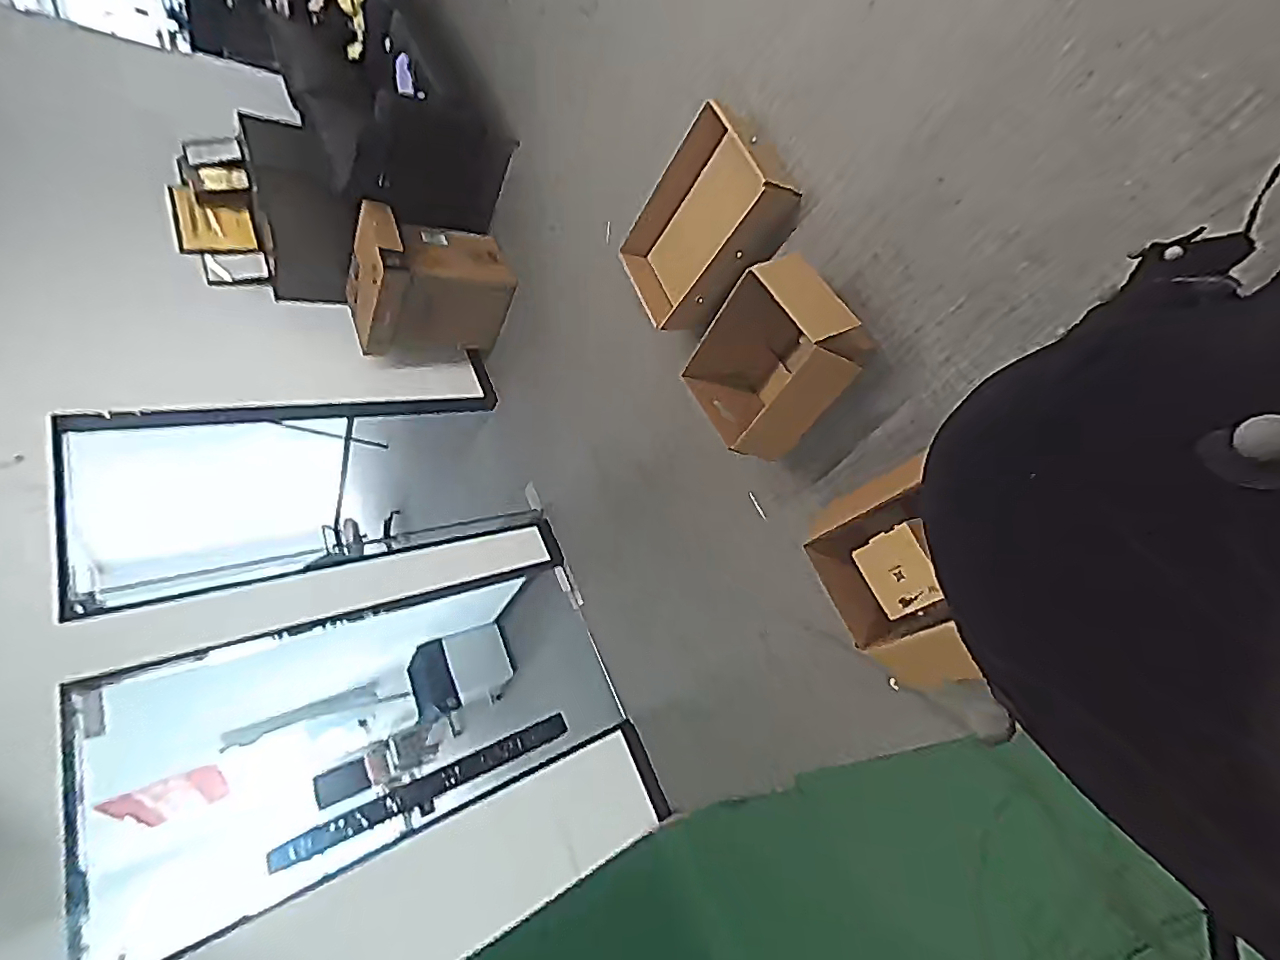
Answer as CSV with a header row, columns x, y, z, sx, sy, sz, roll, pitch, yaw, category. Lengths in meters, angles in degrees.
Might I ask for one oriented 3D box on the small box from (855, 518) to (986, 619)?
x,y,z,sx,sy,sz,roll,pitch,yaw,category
0.645,0.198,1.249,0.168,0.176,0.179,-49,56,48,small box
